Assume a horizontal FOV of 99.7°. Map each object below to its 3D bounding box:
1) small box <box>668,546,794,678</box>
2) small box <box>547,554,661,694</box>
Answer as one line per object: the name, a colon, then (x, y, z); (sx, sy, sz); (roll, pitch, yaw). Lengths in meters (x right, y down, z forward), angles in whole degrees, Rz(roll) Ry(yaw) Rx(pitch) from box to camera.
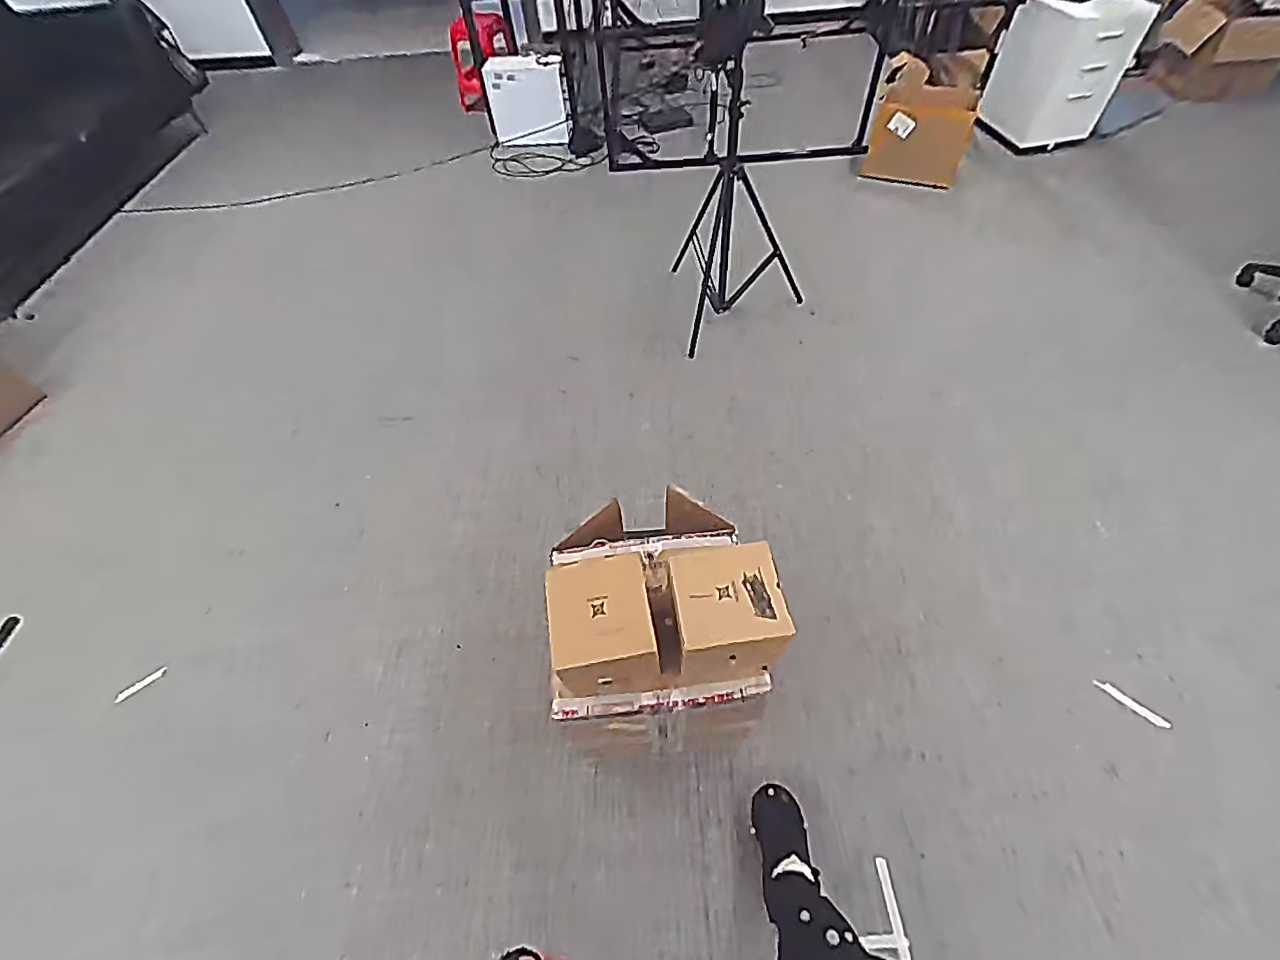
small box: (0.147, 0.234, 0.943); (0.179, 0.176, 0.168); (-8, 56, -3)
small box: (-0.060, 0.254, 0.943); (0.168, 0.176, 0.179); (-12, 58, -2)
